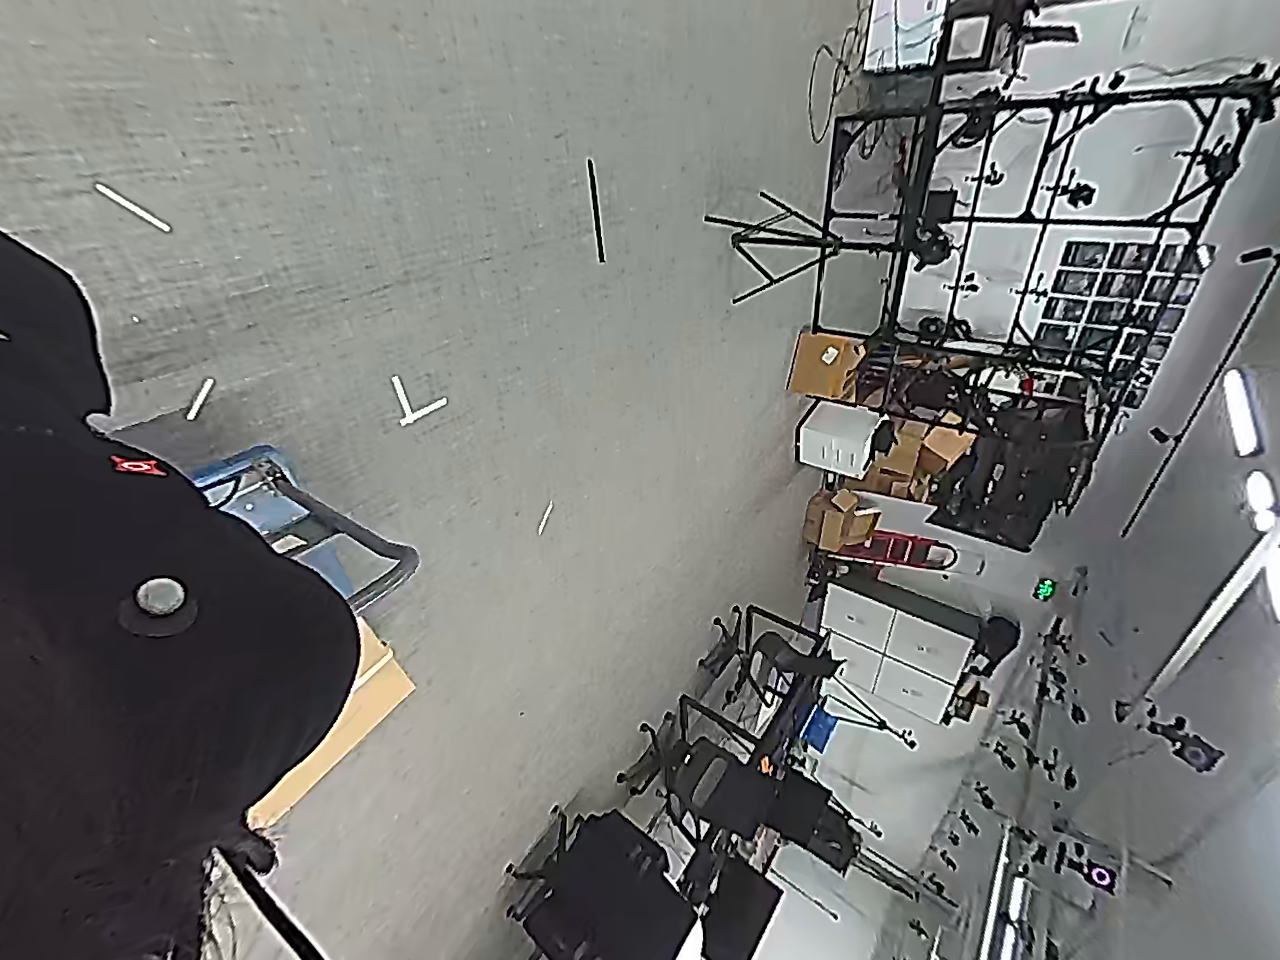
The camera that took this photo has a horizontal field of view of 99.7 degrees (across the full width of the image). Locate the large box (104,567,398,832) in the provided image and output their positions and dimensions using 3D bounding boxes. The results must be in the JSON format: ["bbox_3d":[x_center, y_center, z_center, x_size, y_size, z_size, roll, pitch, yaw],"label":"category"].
[{"bbox_3d":[-0.868,0.482,1.252,0.408,0.320,0.320,-44,139,-35],"label":"large box"}]
